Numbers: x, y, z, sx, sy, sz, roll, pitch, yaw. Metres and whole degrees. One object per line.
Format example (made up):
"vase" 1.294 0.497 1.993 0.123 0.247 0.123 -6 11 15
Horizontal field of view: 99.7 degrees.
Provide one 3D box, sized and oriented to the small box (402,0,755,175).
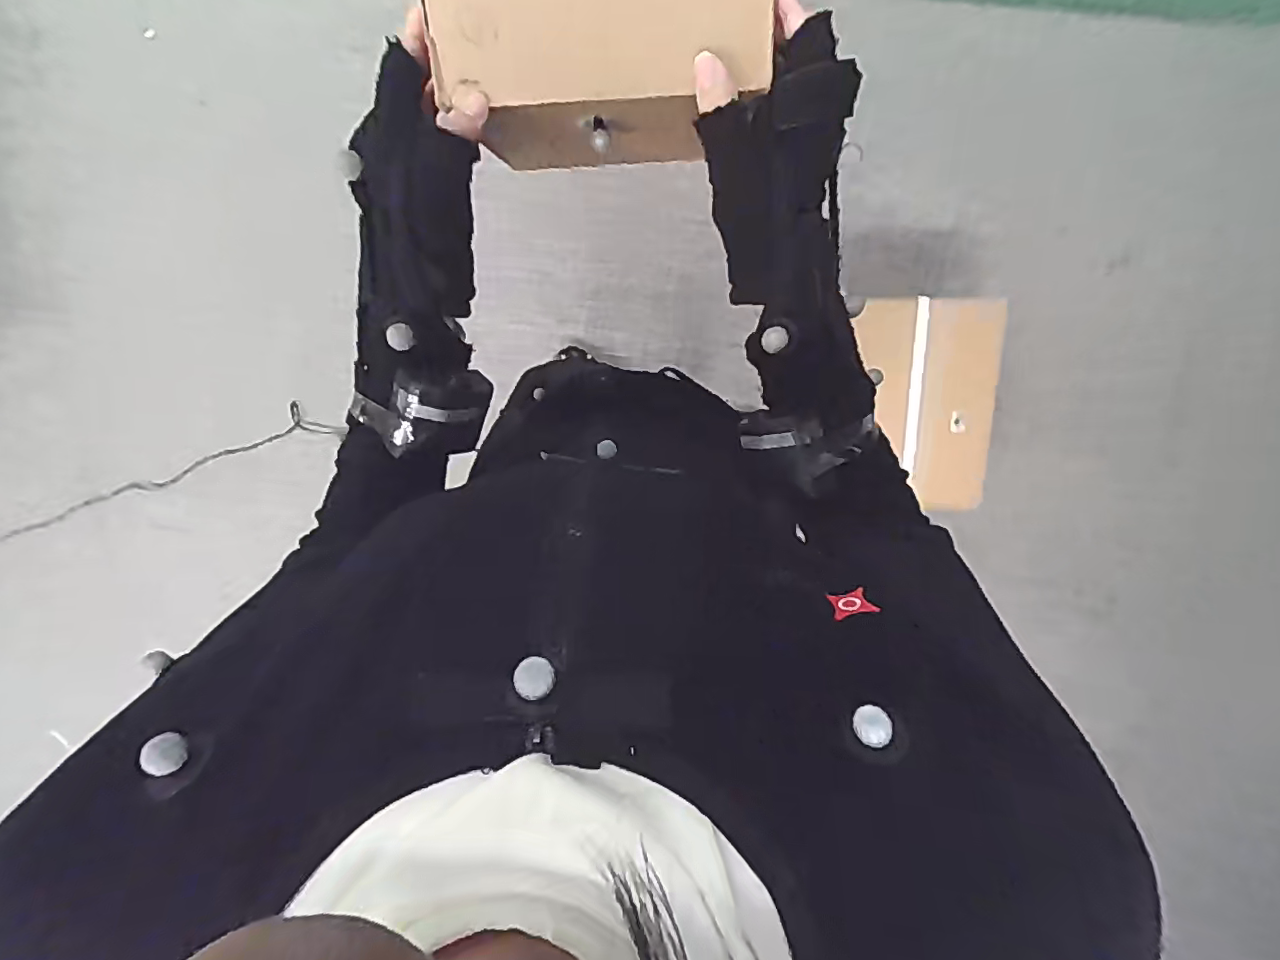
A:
"small box" -0.031 -0.296 0.326 0.179 0.176 0.168 -4 110 2
